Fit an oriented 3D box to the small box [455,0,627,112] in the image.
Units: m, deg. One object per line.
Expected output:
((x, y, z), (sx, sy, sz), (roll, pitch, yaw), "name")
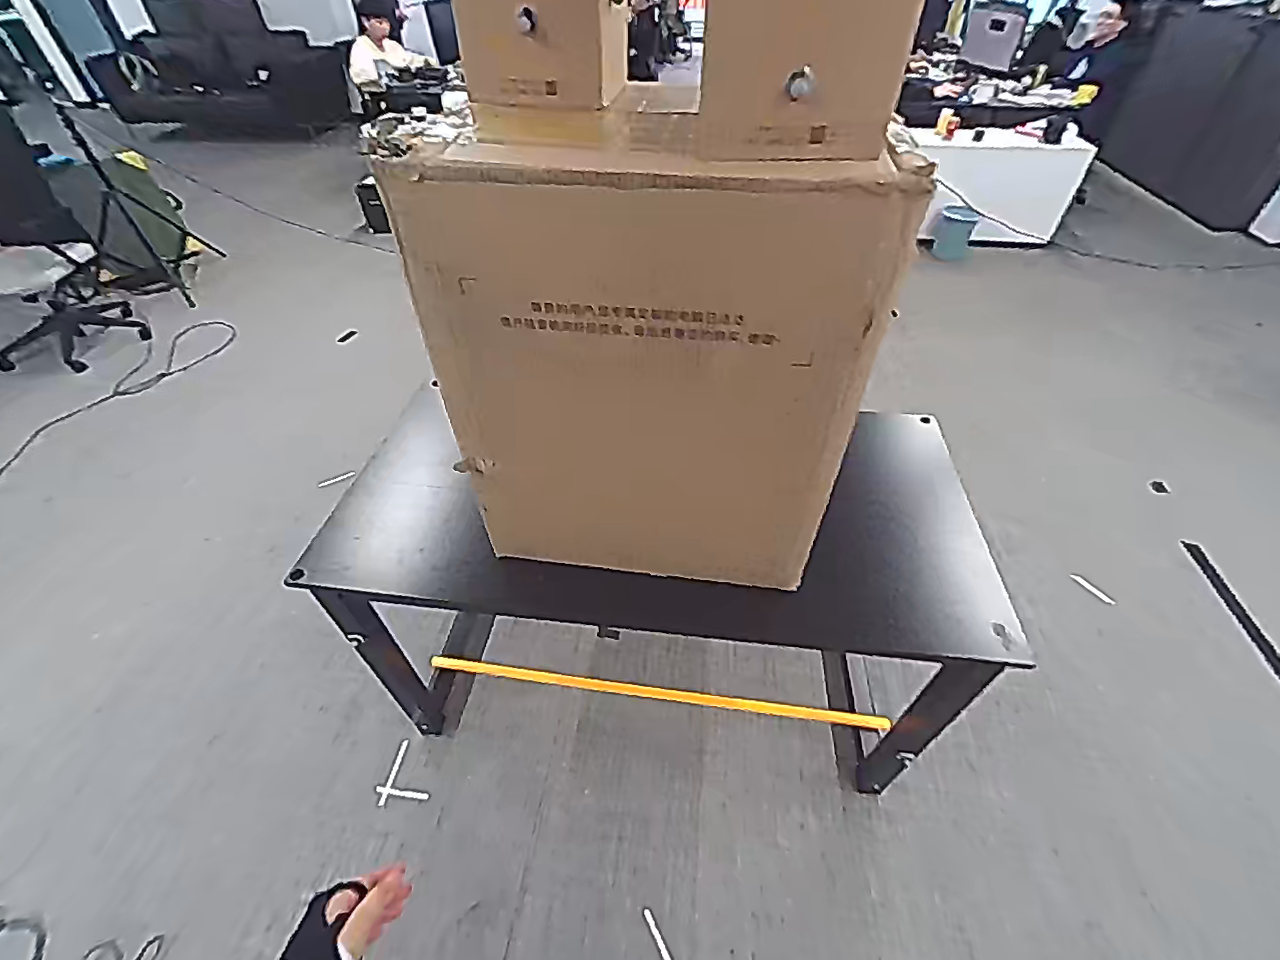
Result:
((-0.107, -0.551, 0.637), (0.168, 0.176, 0.179), (6, 46, 5), "small box")

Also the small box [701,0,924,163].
((0.142, -0.407, 0.491), (0.168, 0.176, 0.179), (2, 46, 5), "small box")
